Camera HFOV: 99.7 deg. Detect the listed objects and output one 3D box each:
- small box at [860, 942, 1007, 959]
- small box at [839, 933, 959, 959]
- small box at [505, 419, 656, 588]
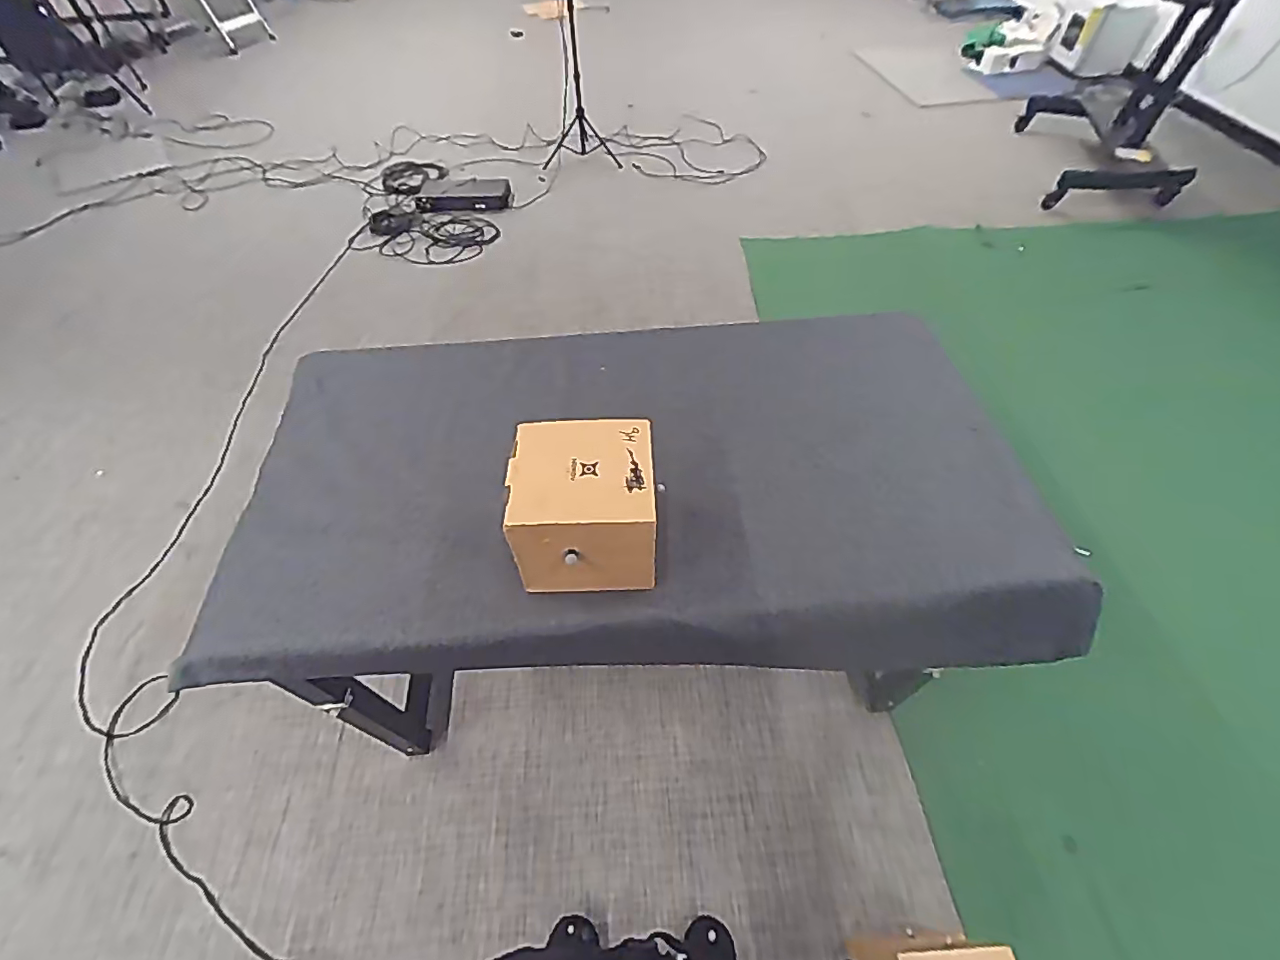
[{"bbox_3d":[0.467,0.826,0.832,0.179,0.176,0.168,-3,51,0],"label":"small box"},{"bbox_3d":[0.481,0.925,0.964,0.179,0.176,0.168,-5,52,-1],"label":"small box"},{"bbox_3d":[-0.068,0.036,0.729,0.179,0.176,0.168,-1,52,0],"label":"small box"}]
